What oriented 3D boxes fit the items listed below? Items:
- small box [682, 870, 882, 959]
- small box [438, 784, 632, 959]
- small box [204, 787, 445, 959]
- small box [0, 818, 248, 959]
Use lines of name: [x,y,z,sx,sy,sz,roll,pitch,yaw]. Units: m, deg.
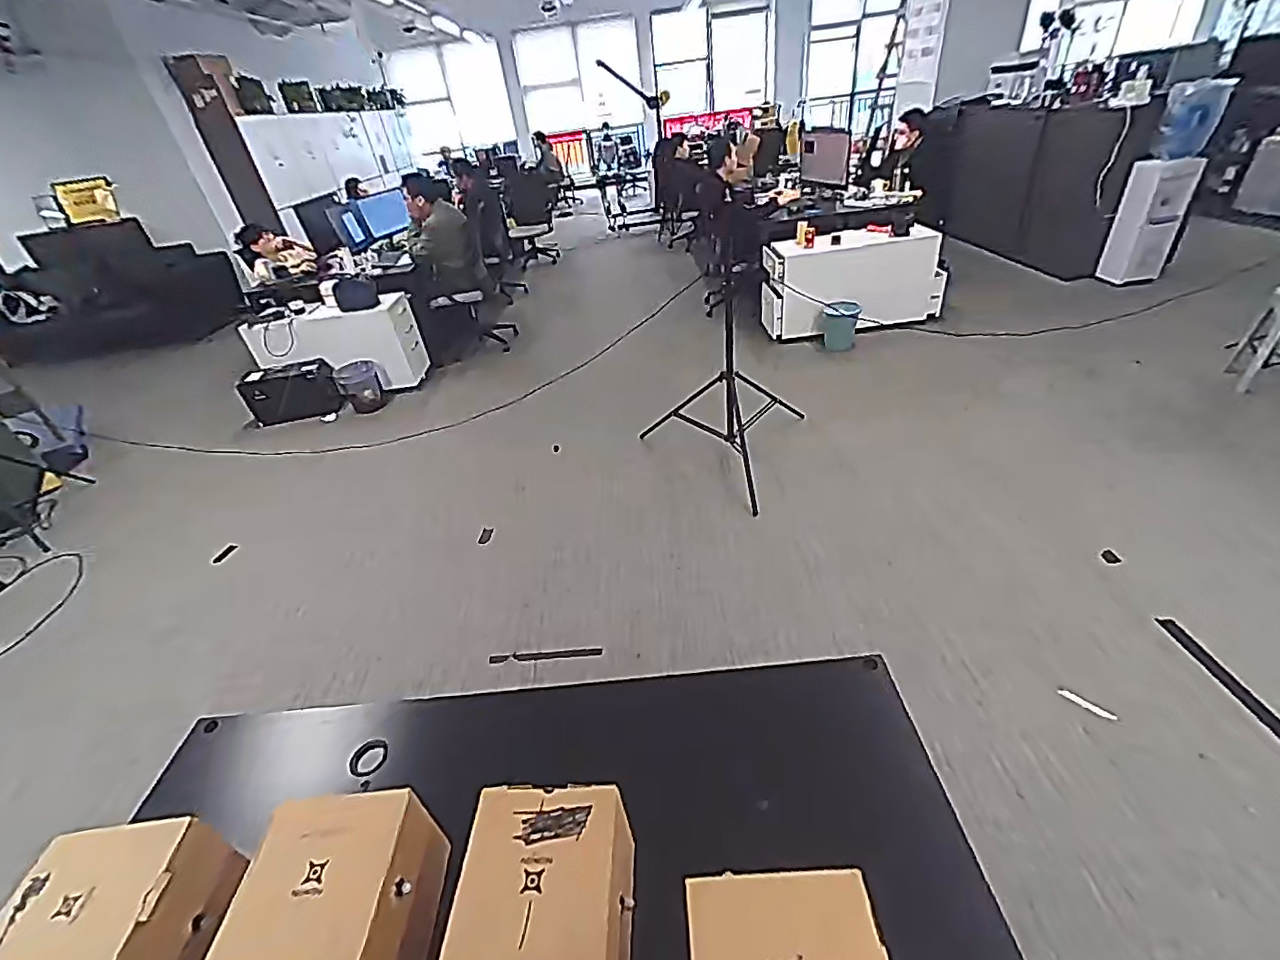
small box: [0.137,0.505,0.518,0.179,0.176,0.168,-4,34,2]
small box: [-0.102,0.478,0.618,0.168,0.176,0.179,-4,36,5]
small box: [-0.350,0.499,0.639,0.168,0.176,0.179,-6,34,1]
small box: [-0.610,0.531,0.638,0.179,0.176,0.168,-7,34,0]
